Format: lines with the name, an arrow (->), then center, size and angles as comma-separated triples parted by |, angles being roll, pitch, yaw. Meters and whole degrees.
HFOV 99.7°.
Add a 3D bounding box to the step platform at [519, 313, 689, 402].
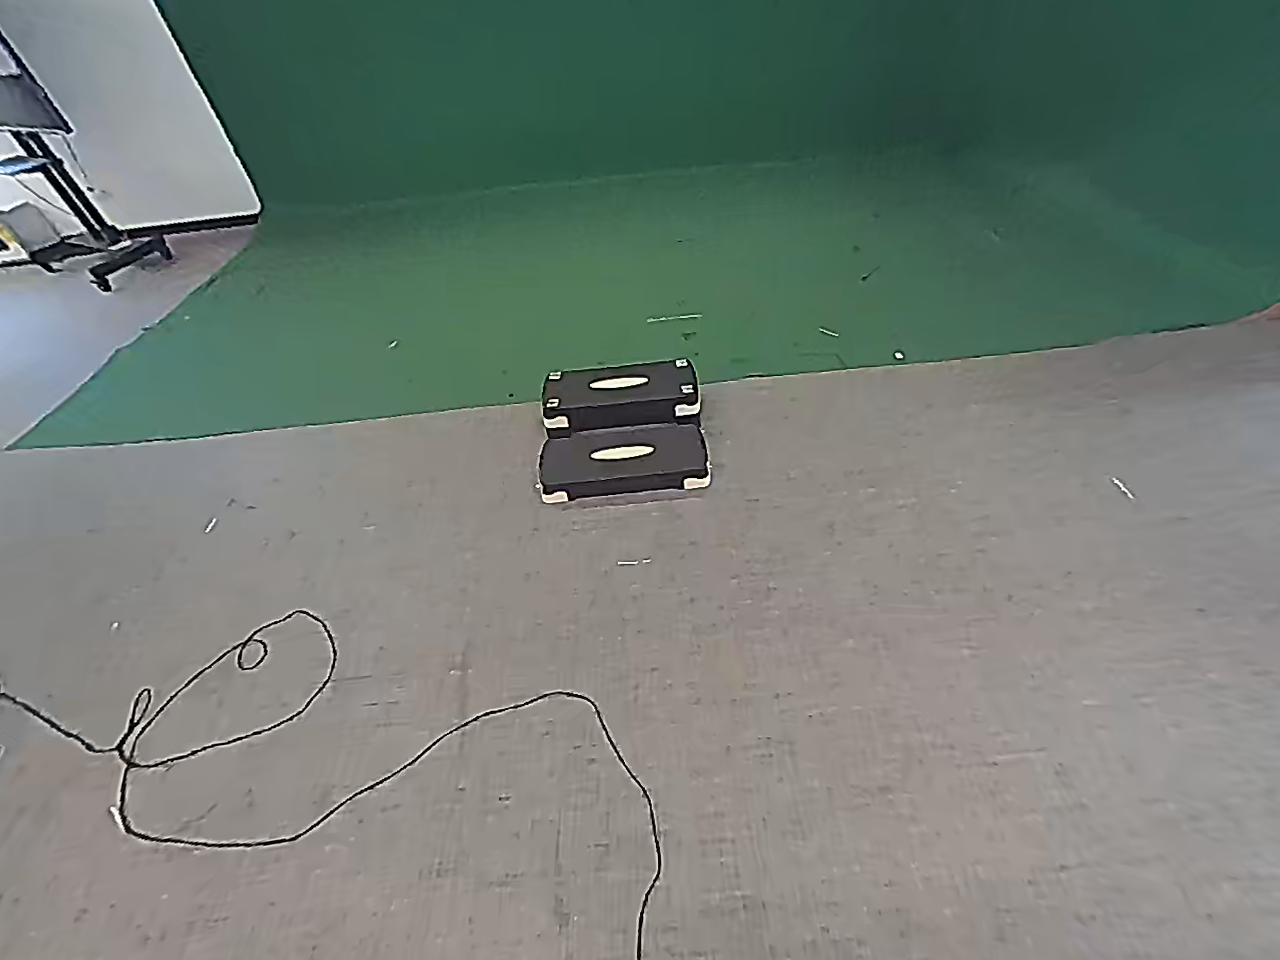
step platform -> -0.141, -0.508, 2.240 | 0.684, 0.204, 0.286 | -6, 45, 1
